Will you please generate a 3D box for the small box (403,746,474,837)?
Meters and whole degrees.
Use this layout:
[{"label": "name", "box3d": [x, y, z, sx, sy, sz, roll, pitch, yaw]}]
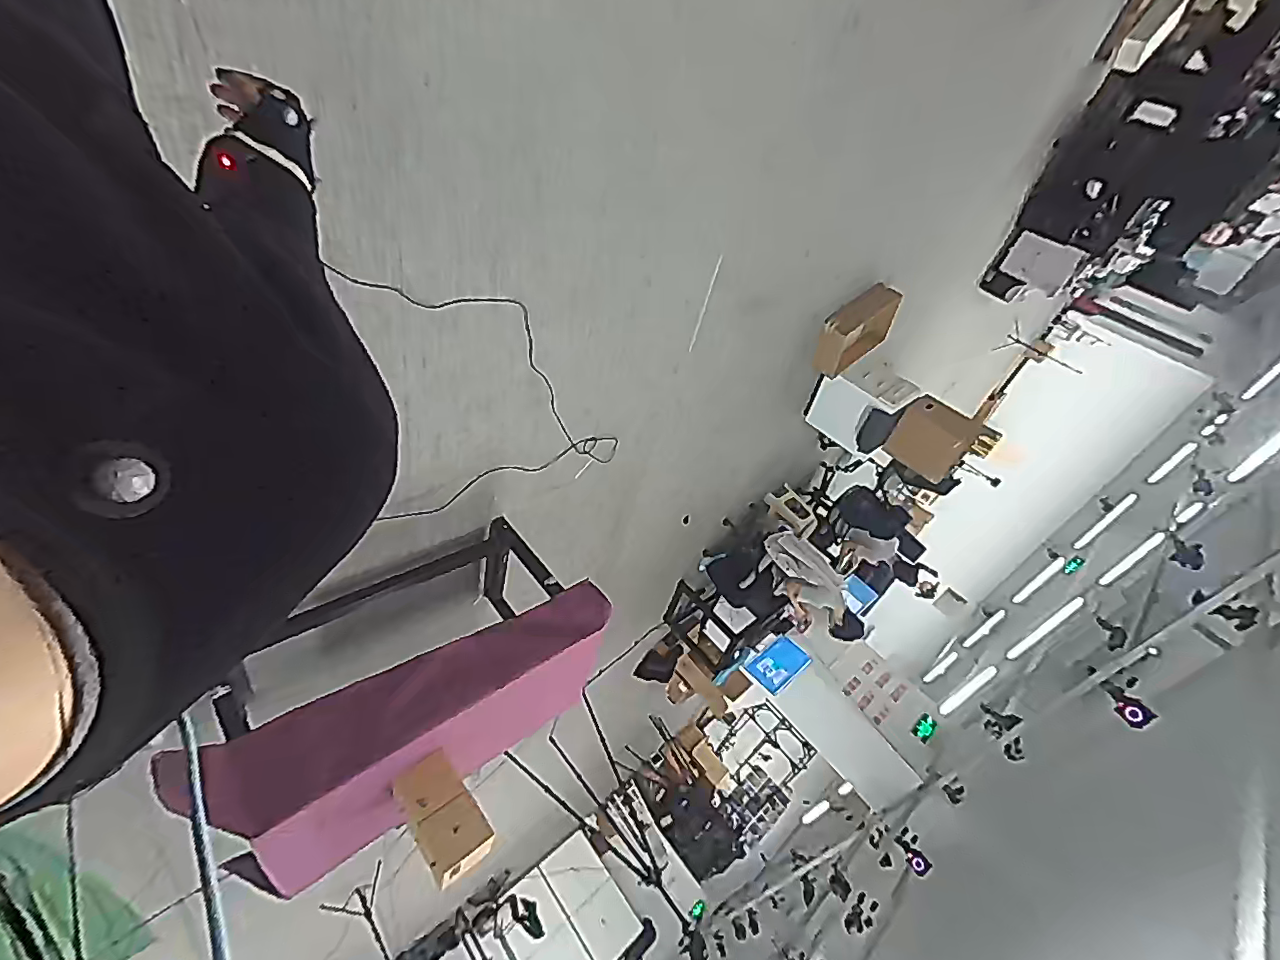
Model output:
[{"label": "small box", "box3d": [-0.682, 1.043, 1.819, 0.179, 0.176, 0.168, -21, 143, -39]}]
